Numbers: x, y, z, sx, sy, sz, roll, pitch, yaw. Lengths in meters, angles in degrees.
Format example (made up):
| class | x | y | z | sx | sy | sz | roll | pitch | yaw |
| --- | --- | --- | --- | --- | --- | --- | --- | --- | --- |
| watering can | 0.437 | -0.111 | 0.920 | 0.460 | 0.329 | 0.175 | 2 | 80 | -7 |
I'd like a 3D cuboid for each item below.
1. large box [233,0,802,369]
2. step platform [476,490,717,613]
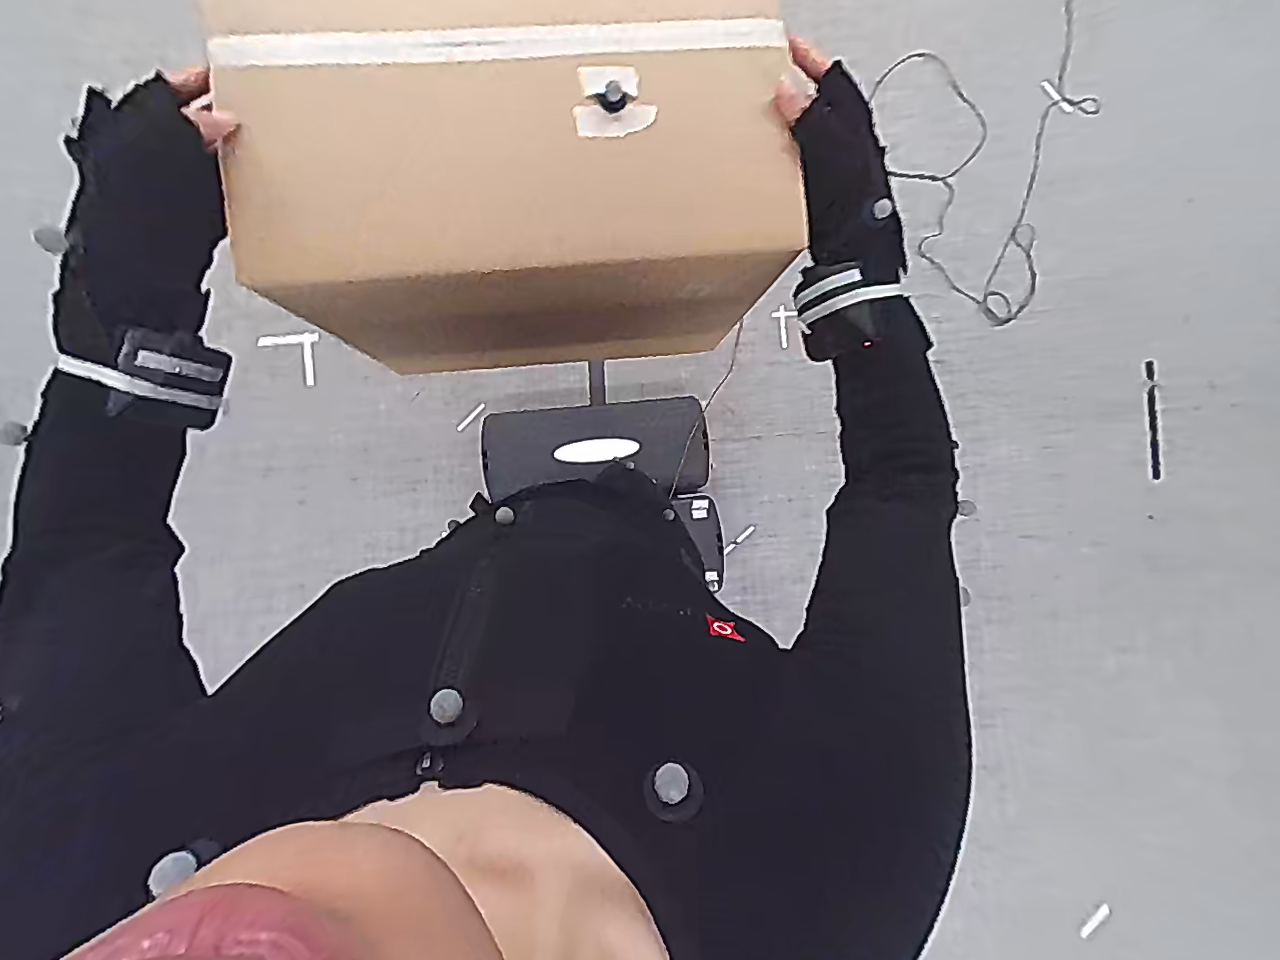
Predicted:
| class | x | y | z | sx | sy | sz | roll | pitch | yaw |
| --- | --- | --- | --- | --- | --- | --- | --- | --- | --- |
| large box | -0.102 | -0.314 | 0.547 | 0.408 | 0.320 | 0.320 | -7 | 91 | -6 |
| step platform | -0.121 | 0.201 | 1.569 | 0.684 | 0.204 | 0.286 | -6 | 88 | -3 |
